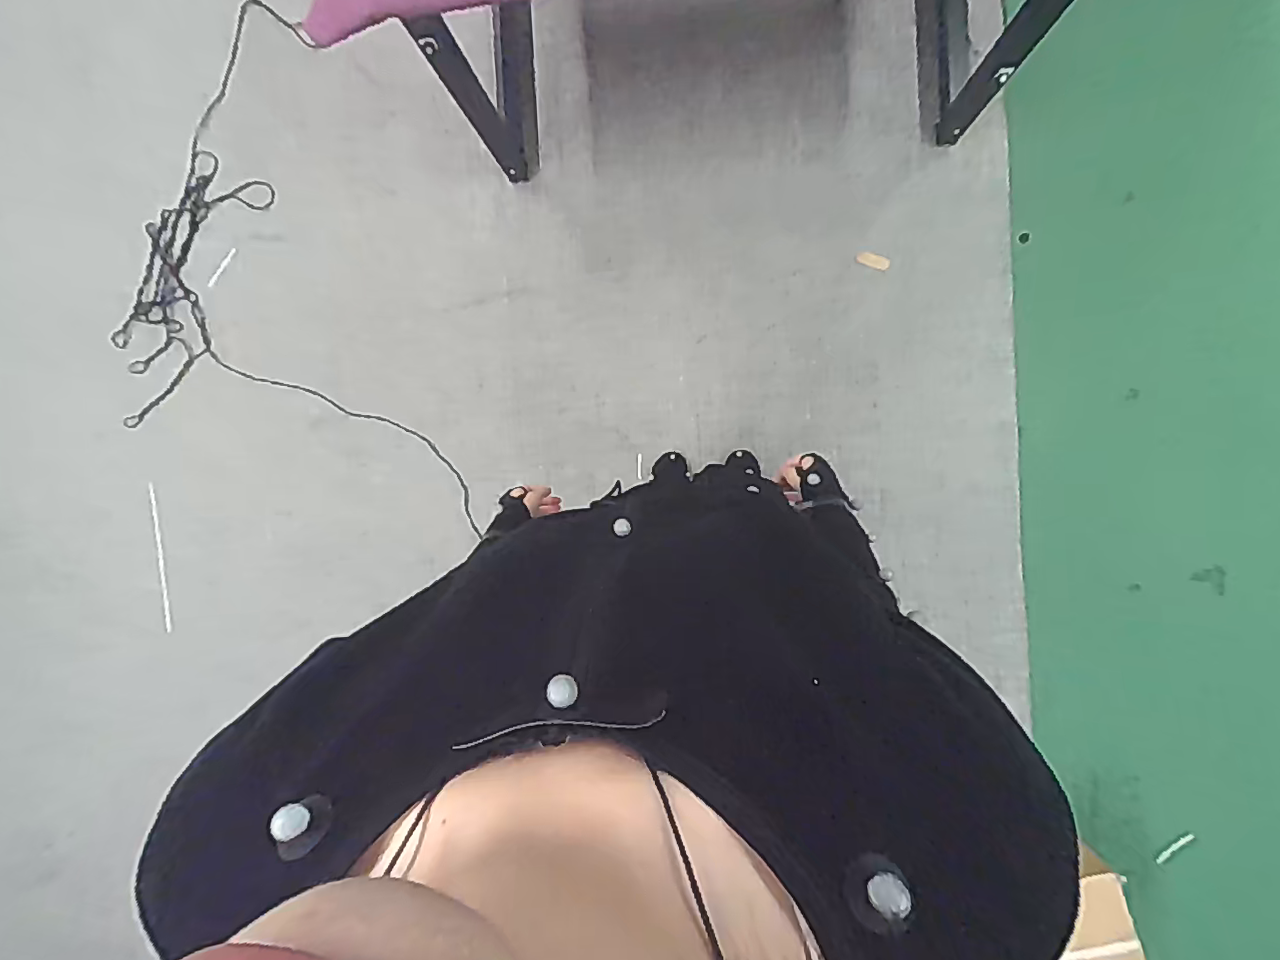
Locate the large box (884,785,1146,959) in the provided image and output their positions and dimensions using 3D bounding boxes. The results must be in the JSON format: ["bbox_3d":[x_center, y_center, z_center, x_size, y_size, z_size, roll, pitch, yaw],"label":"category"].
[{"bbox_3d":[0.886,1.020,1.321,0.408,0.320,0.320,-17,92,6],"label":"large box"}]
